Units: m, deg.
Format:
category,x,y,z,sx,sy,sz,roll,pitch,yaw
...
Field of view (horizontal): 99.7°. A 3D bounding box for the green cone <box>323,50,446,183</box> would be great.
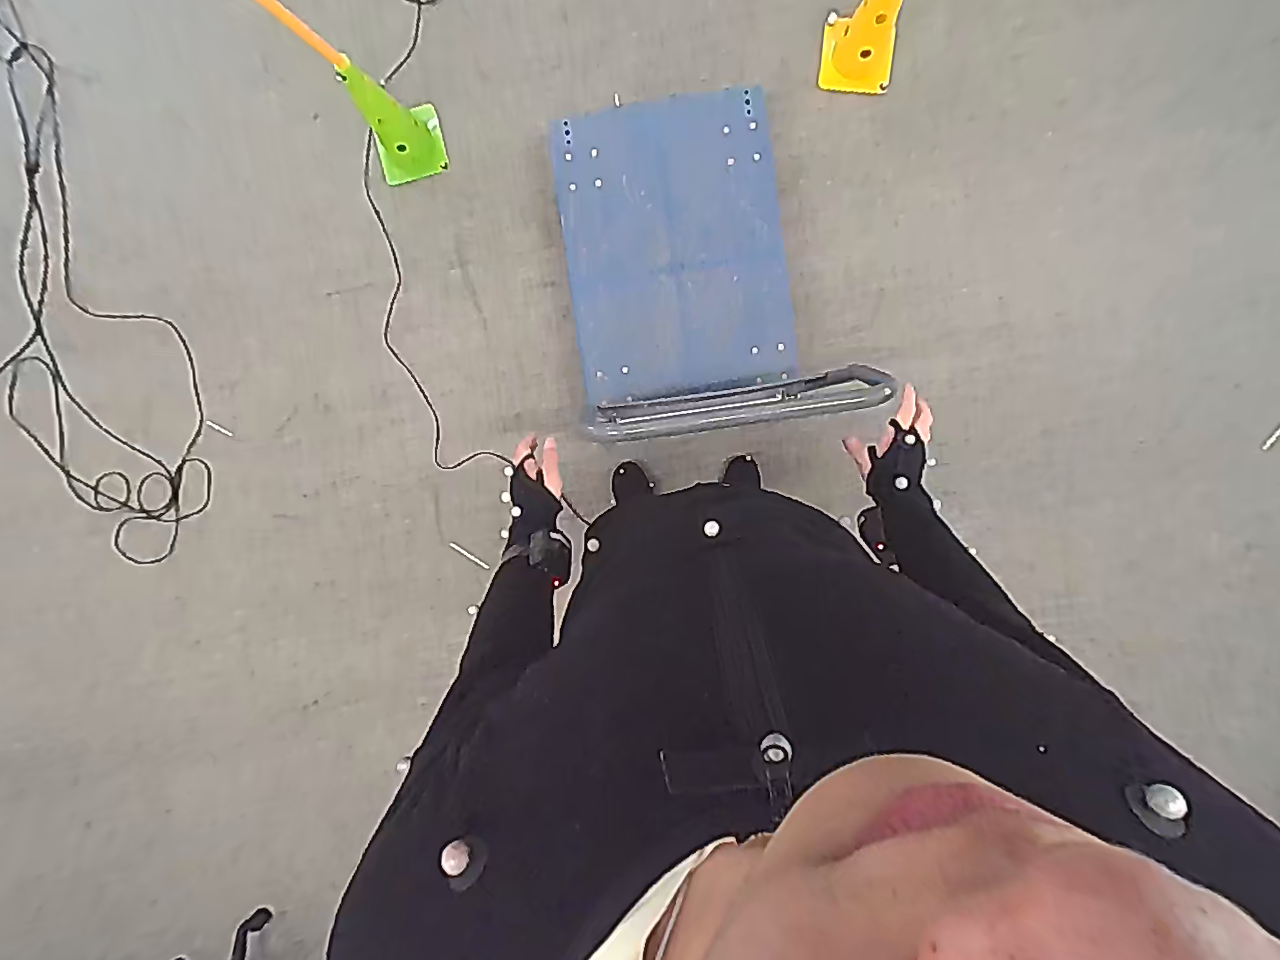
category,x,y,z,sx,sy,sz,roll,pitch,yaw
green cone,-0.700,-0.993,1.431,0.202,0.368,0.200,-15,92,5
